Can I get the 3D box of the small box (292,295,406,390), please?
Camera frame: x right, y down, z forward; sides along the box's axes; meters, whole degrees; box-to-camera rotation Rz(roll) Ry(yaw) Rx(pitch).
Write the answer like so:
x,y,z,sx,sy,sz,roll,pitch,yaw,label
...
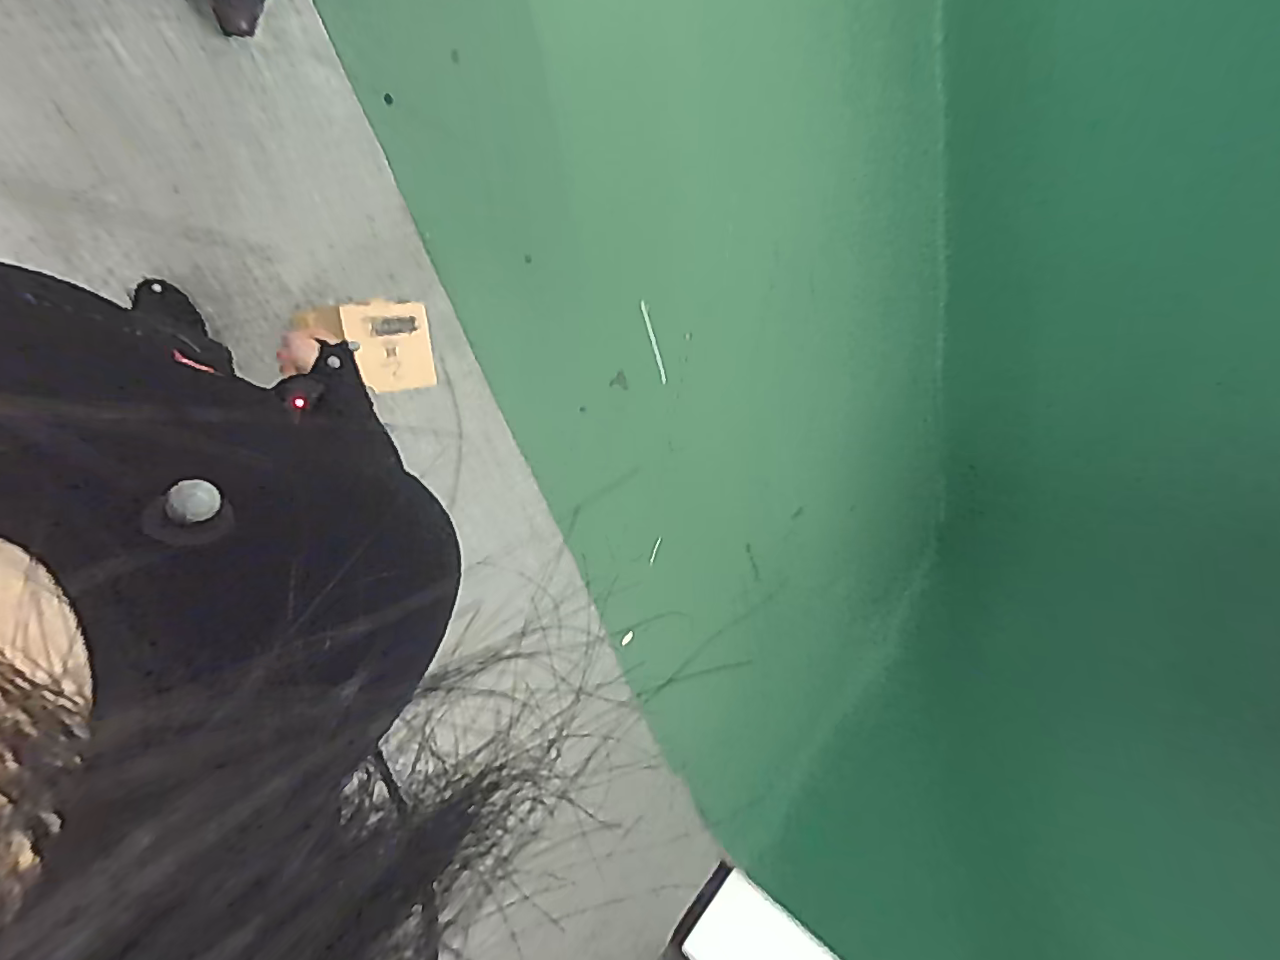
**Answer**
x,y,z,sx,sy,sz,roll,pitch,yaw,label
-0.677,-0.325,1.259,0.168,0.176,0.179,-29,120,-34,small box
